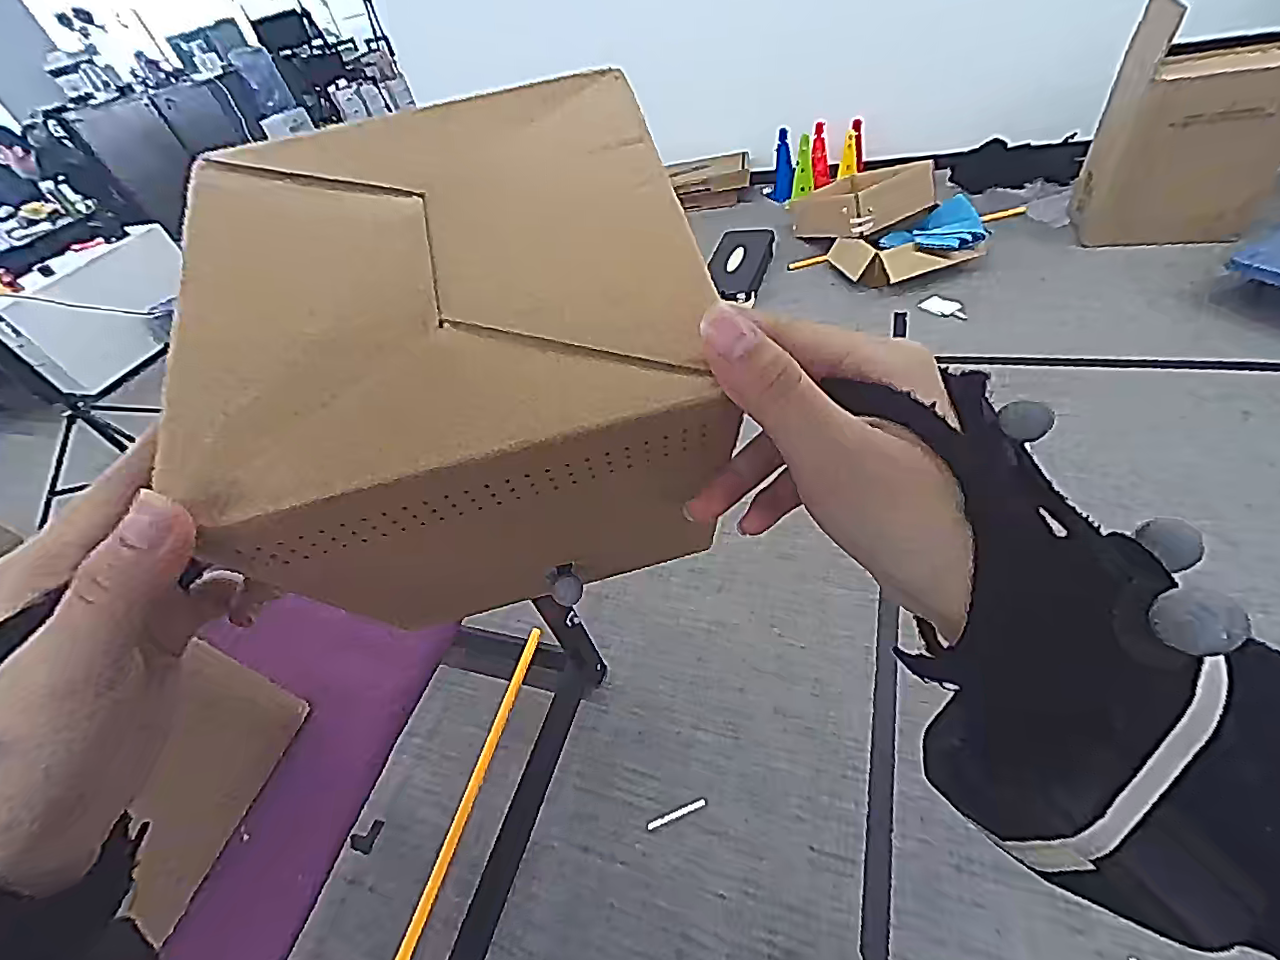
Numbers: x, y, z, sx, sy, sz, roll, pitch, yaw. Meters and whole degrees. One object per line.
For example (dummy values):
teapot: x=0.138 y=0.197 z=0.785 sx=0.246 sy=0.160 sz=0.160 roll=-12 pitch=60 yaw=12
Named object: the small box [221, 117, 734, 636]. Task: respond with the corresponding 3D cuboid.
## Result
small box: x=-0.066 y=-0.039 z=0.266 sx=0.179 sy=0.176 sz=0.168 roll=-15 pitch=65 yaw=-3
